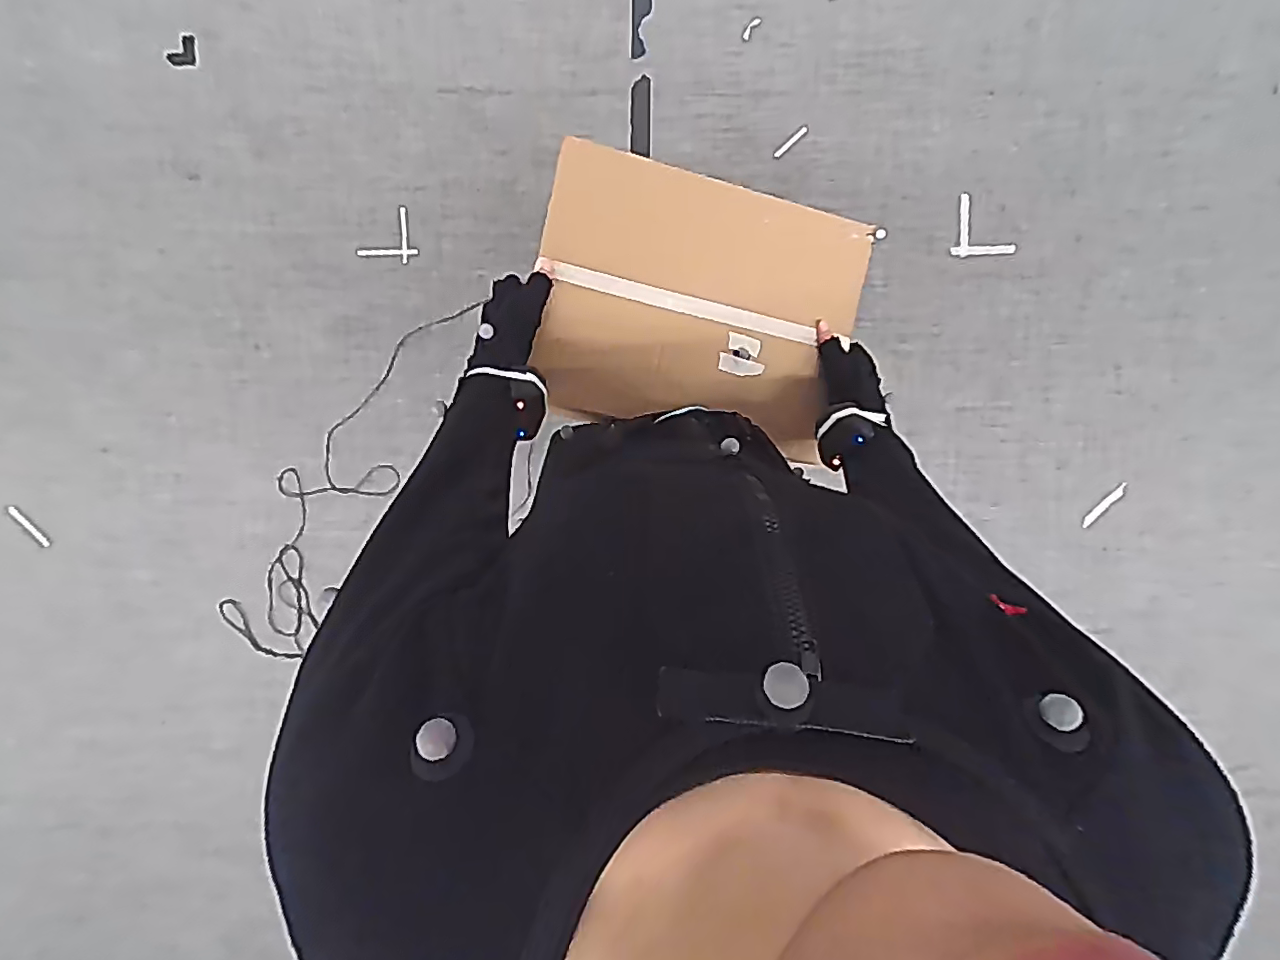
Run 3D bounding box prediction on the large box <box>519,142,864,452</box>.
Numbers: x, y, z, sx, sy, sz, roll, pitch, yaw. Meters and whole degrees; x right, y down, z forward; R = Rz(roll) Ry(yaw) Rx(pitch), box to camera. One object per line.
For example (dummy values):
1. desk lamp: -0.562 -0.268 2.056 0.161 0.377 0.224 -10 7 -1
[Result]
1. large box: 0.051 -0.235 0.833 0.408 0.320 0.320 12 94 -8
